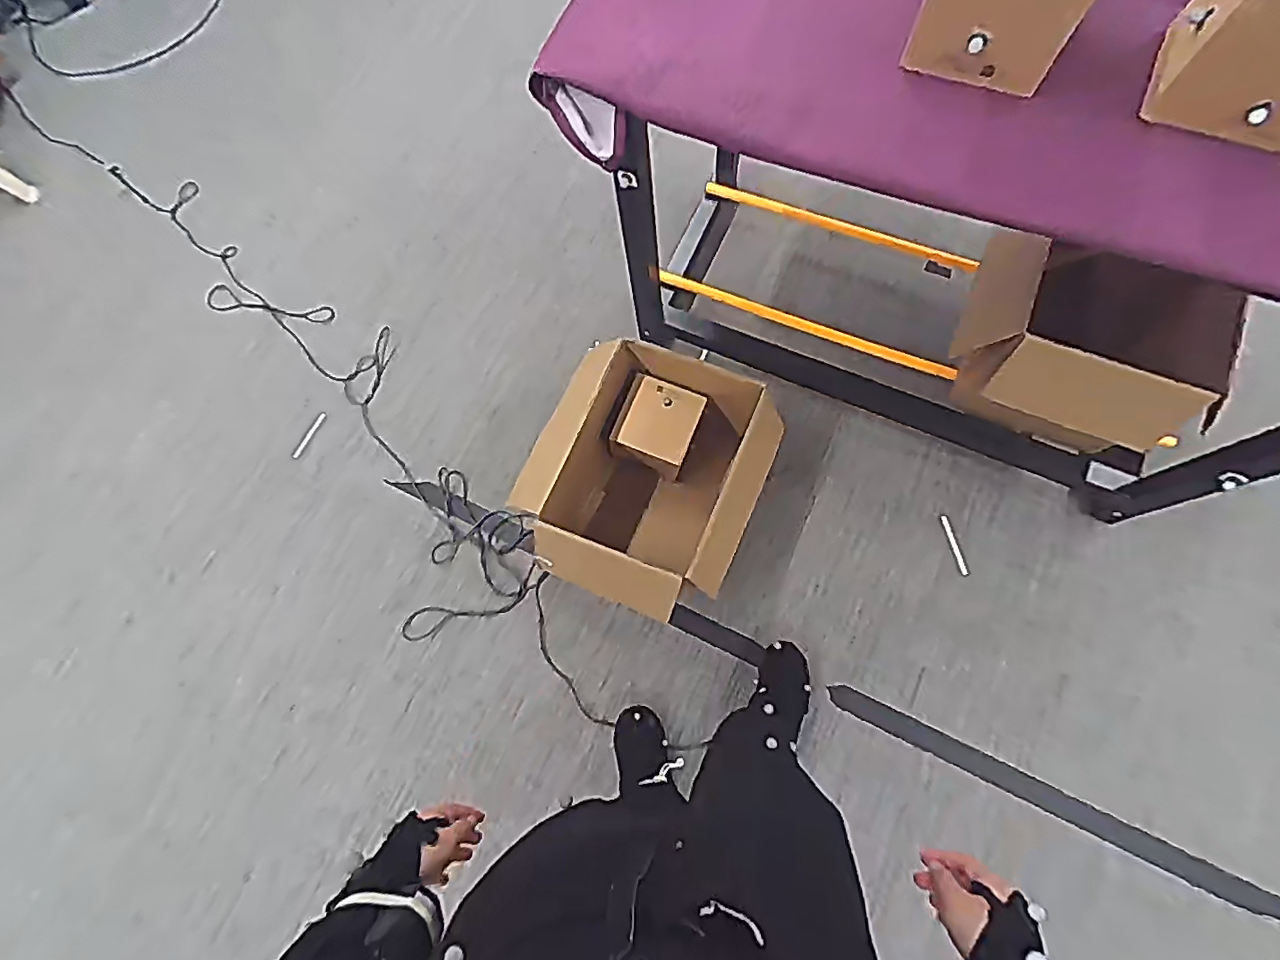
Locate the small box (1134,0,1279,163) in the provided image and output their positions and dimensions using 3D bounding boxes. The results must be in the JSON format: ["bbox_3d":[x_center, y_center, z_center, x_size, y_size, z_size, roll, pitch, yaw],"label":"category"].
[{"bbox_3d":[0.703,-0.490,0.580,0.179,0.176,0.168,24,75,12],"label":"small box"}]

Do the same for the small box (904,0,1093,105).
[{"bbox_3d":[0.442,-0.600,0.640,0.168,0.176,0.179,23,77,11],"label":"small box"}]
